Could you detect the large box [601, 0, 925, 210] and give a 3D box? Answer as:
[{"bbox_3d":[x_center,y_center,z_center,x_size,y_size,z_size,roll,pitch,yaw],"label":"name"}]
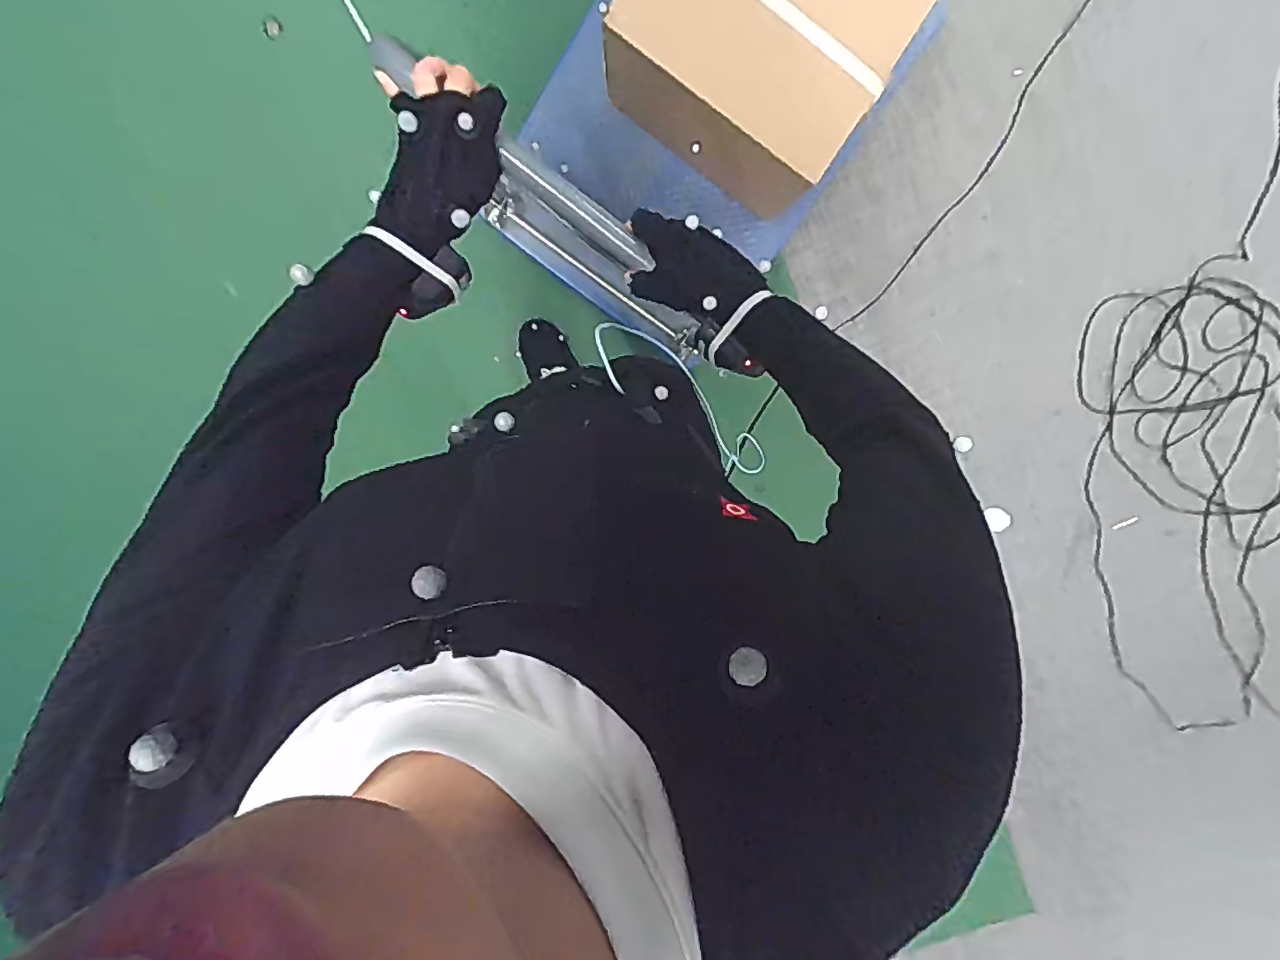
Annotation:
[{"bbox_3d":[0.186,-0.746,0.943,0.408,0.320,0.320,31,102,-10],"label":"large box"}]
